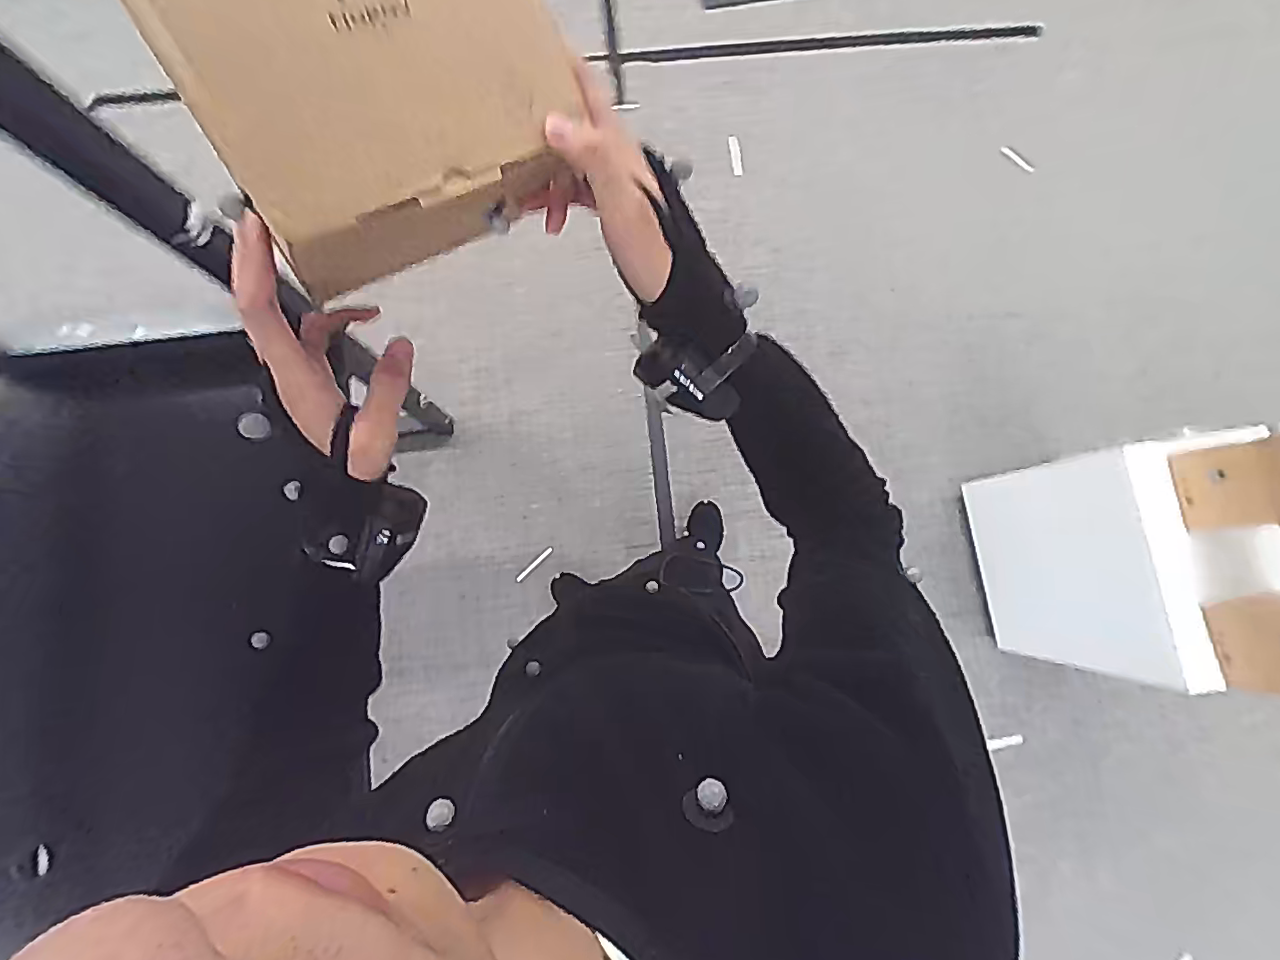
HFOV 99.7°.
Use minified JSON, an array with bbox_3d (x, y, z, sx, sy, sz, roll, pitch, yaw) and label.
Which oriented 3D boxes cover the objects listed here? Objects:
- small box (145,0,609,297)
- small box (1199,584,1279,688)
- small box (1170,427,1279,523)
[{"bbox_3d":[-0.149,-0.221,0.311,0.168,0.176,0.179,-33,110,-20],"label":"small box"},{"bbox_3d":[1.244,0.294,1.026,0.179,0.176,0.168,-10,81,-4],"label":"small box"},{"bbox_3d":[1.213,-0.009,1.072,0.179,0.176,0.168,-7,83,-4],"label":"small box"}]
